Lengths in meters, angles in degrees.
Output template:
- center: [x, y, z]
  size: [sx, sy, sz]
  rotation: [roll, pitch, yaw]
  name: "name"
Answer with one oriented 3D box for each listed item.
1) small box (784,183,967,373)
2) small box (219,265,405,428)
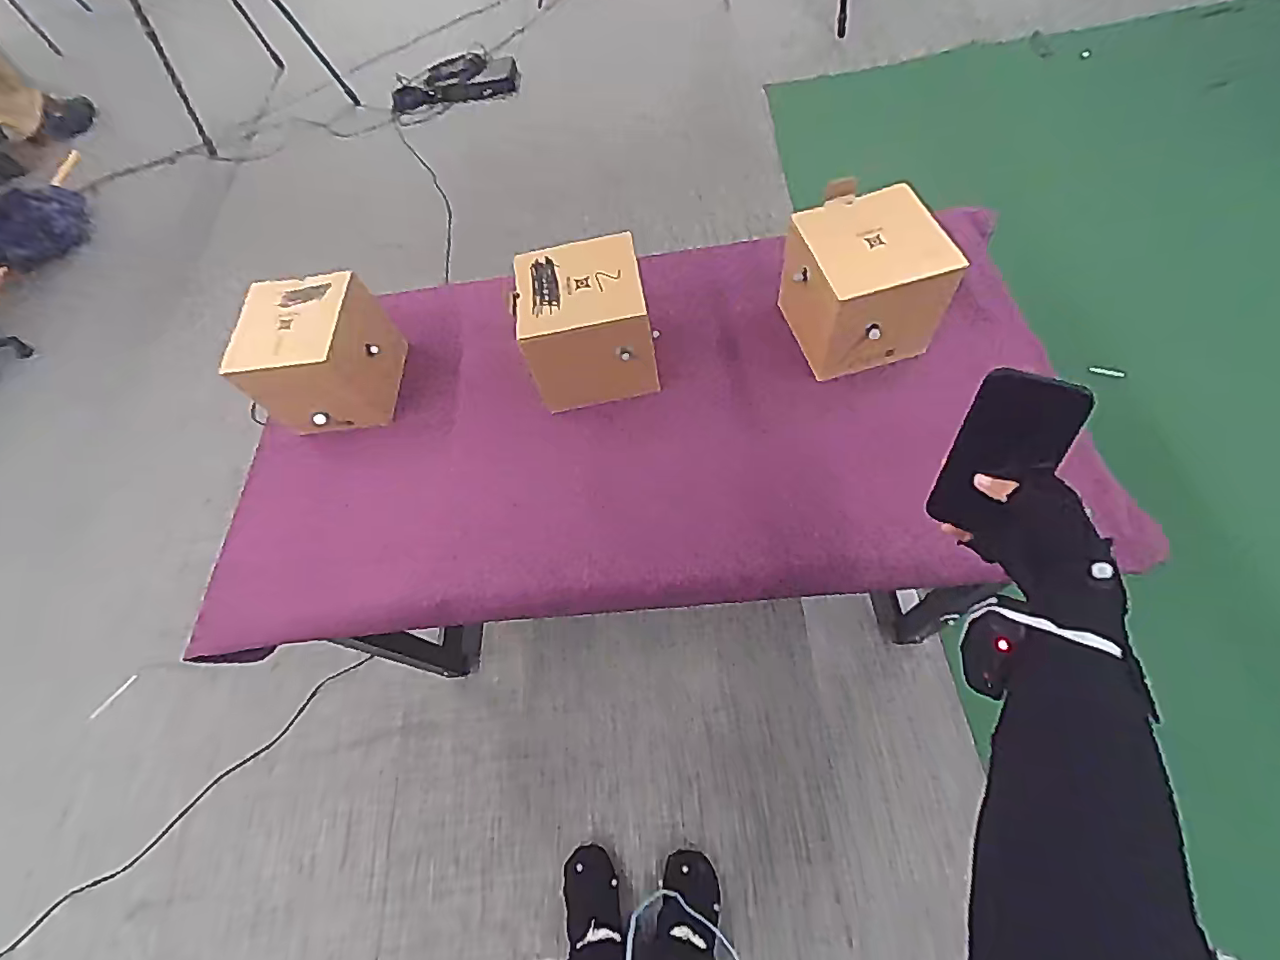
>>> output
- center: [0.314, -0.272, 0.765]
  size: [0.168, 0.176, 0.179]
  rotation: [-15, 61, 1]
  name: "small box"
- center: [-0.493, -0.203, 0.846]
  size: [0.168, 0.176, 0.179]
  rotation: [-5, 64, 6]
  name: "small box"
